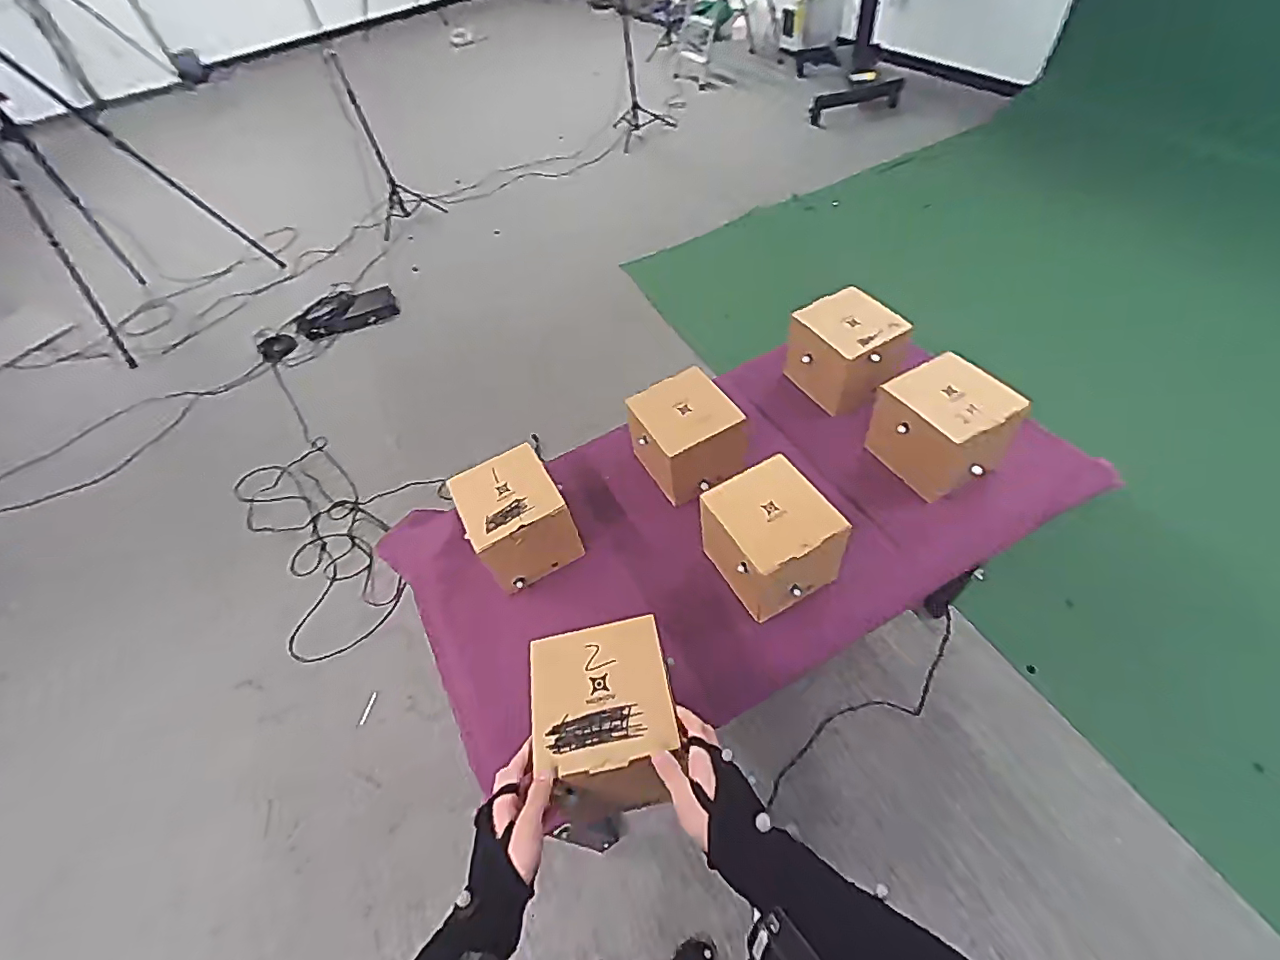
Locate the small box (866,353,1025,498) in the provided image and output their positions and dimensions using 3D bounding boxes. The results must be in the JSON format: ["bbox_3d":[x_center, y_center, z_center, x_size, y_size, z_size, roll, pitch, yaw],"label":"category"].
[{"bbox_3d":[0.551,-0.099,1.007,0.168,0.176,0.179,-26,52,-10],"label":"small box"}]

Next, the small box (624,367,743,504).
[{"bbox_3d":[0.086,-0.085,1.072,0.168,0.176,0.179,-27,55,-11],"label":"small box"}]

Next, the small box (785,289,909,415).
[{"bbox_3d":[0.430,-0.273,1.162,0.168,0.176,0.179,-27,54,-12],"label":"small box"}]

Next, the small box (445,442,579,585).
[{"bbox_3d":[-0.228,0.070,0.997,0.168,0.176,0.179,-27,54,-13],"label":"small box"}]
